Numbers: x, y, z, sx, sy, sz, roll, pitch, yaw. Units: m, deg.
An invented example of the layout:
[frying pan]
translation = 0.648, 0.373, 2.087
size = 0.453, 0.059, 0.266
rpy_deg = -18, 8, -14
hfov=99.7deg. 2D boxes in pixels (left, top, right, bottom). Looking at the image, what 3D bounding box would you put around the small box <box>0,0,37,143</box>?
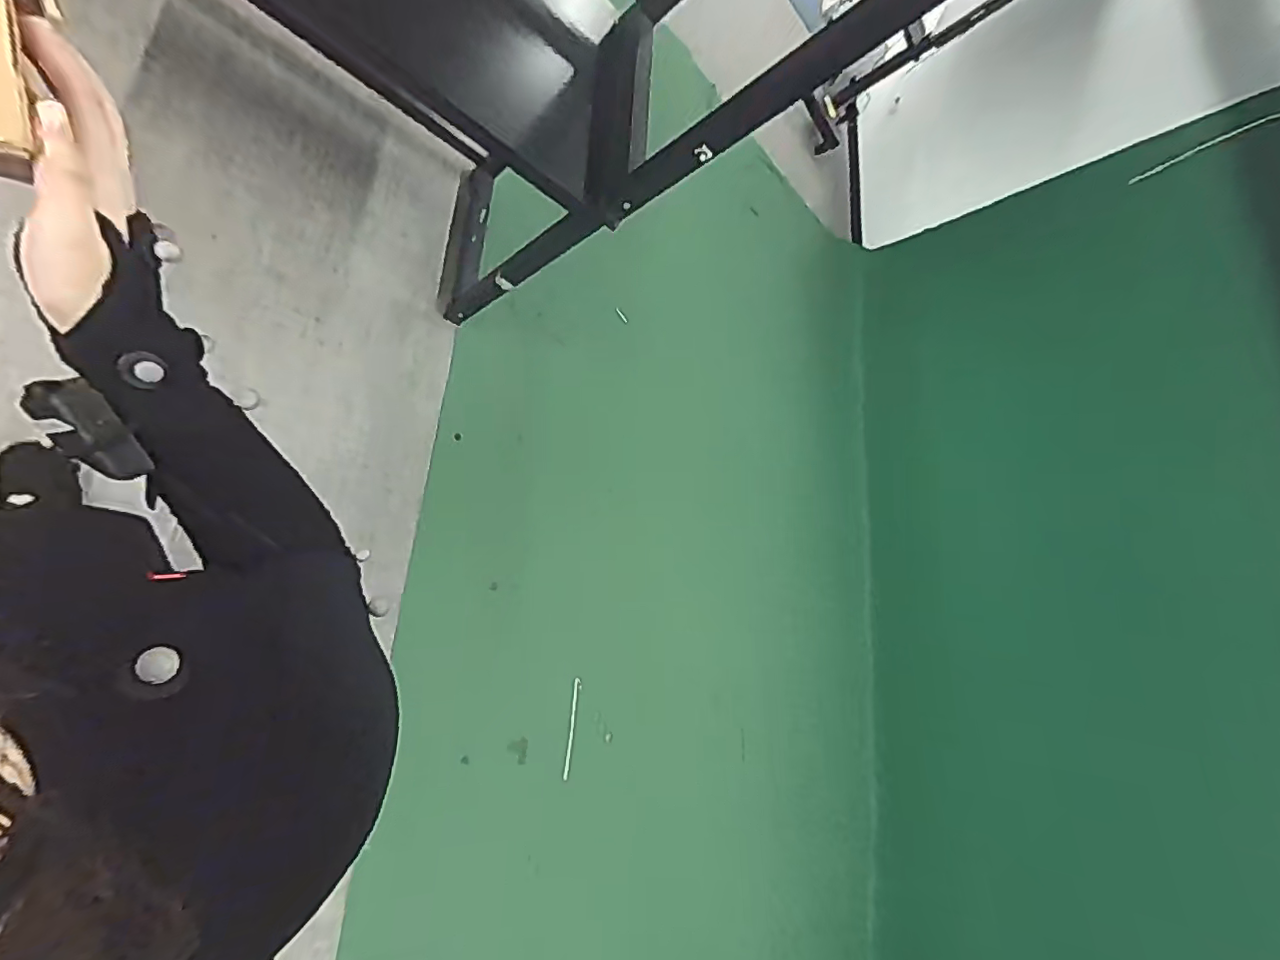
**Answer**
[small box]
translation = -0.374, -0.254, 0.210
size = 0.179, 0.176, 0.168
rpy_deg = -8, 112, -47
